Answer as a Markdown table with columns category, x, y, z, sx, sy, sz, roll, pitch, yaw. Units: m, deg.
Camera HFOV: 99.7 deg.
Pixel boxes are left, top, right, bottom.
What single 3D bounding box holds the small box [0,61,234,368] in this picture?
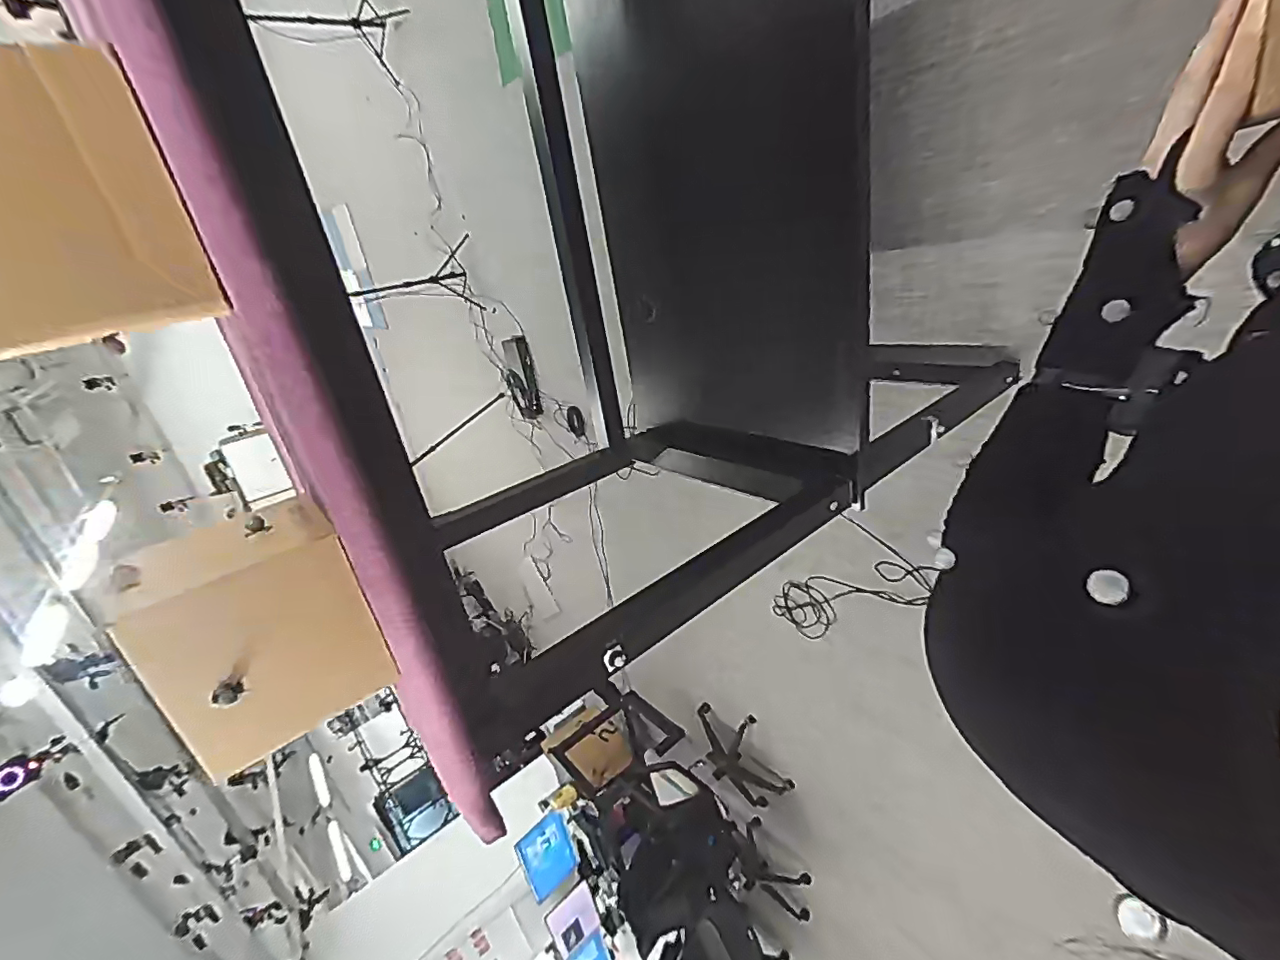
| category | x | y | z | sx | sy | sz | roll | pitch | yaw |
| --- | --- | --- | --- | --- | --- | --- | --- | --- | --- |
| small box | -0.442 | -0.193 | 0.414 | 0.168 | 0.176 | 0.179 | 20 | 127 | 51 |

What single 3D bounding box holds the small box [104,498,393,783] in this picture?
| category | x | y | z | sx | sy | sz | roll | pitch | yaw |
| --- | --- | --- | --- | --- | --- | --- | --- | --- | --- |
| small box | -0.370 | 0.141 | 0.538 | 0.168 | 0.176 | 0.179 | 17 | 125 | 49 |
